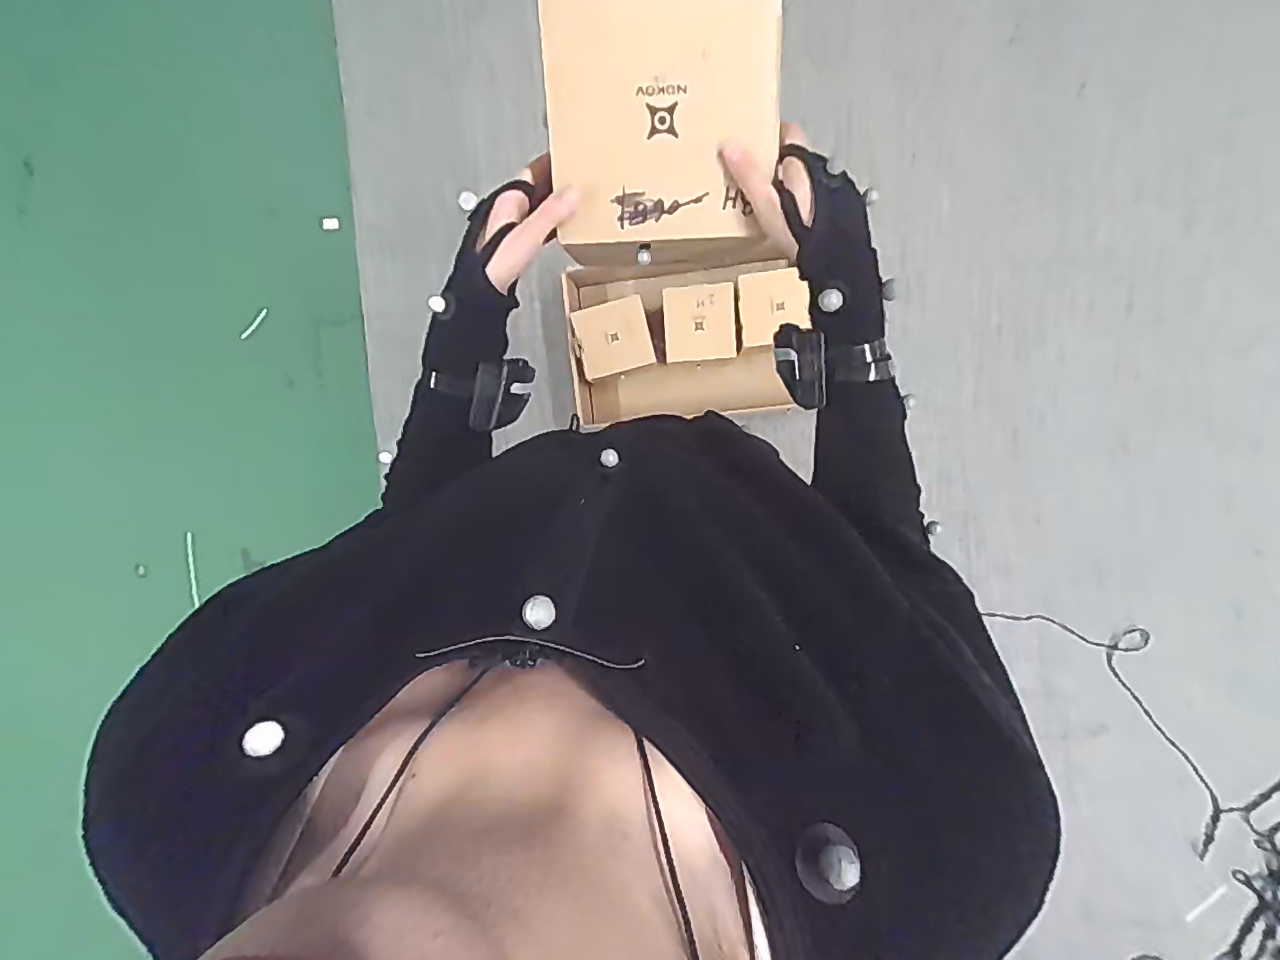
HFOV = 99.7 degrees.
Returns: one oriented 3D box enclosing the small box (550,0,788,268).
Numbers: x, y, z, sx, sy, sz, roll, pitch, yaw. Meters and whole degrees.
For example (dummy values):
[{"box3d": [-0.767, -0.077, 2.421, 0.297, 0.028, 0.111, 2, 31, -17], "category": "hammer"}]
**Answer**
[{"box3d": [0.020, -0.285, 0.458, 0.168, 0.176, 0.179, -2, 105, 0], "category": "small box"}]
